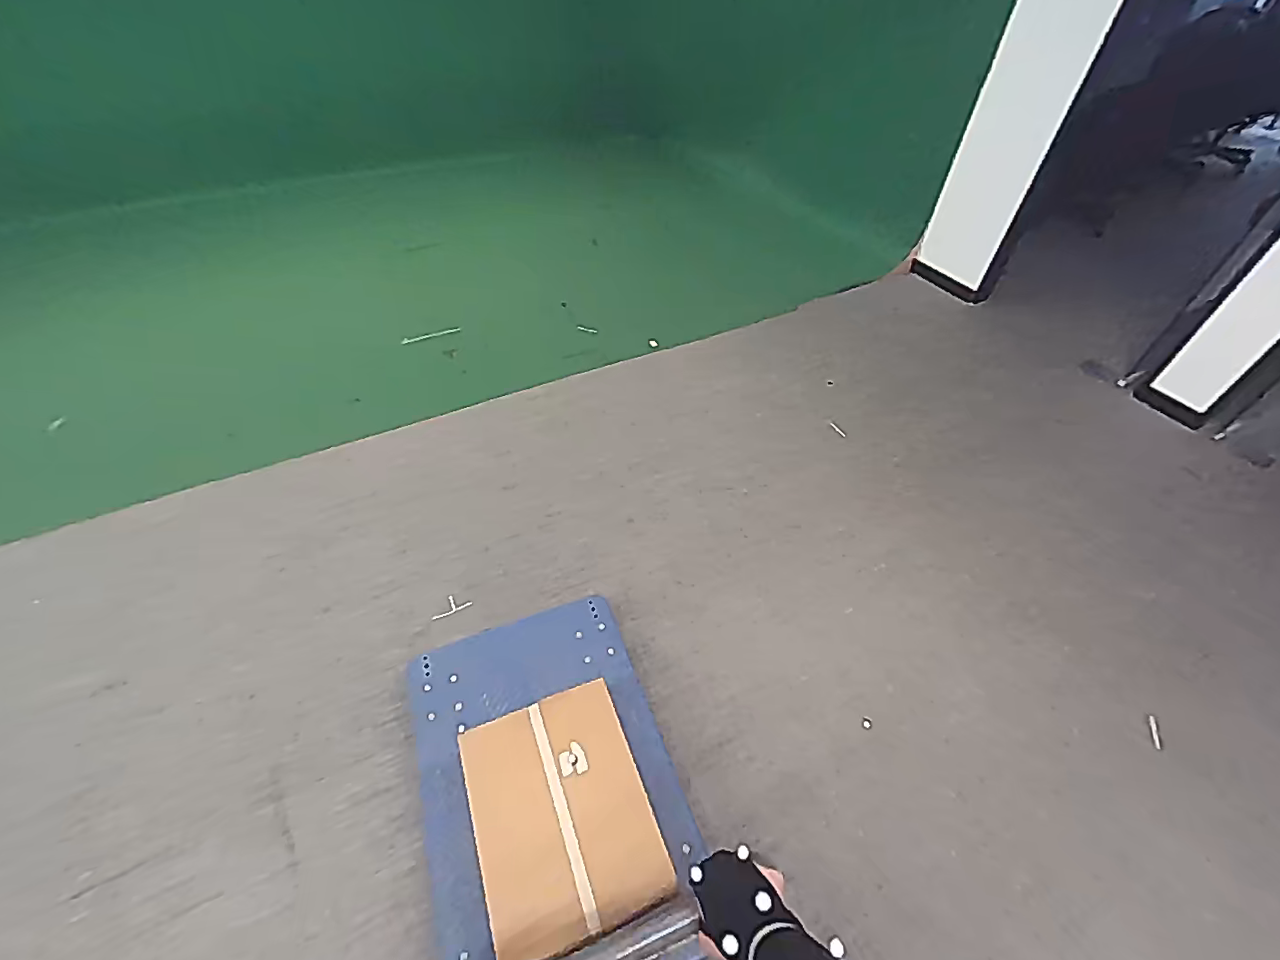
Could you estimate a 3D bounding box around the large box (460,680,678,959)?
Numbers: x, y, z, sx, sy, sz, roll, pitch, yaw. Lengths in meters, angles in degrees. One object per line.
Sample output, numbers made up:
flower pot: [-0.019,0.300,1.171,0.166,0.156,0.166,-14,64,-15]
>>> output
large box: [-0.148,0.707,1.114,0.320,0.320,0.408,-16,49,-16]
